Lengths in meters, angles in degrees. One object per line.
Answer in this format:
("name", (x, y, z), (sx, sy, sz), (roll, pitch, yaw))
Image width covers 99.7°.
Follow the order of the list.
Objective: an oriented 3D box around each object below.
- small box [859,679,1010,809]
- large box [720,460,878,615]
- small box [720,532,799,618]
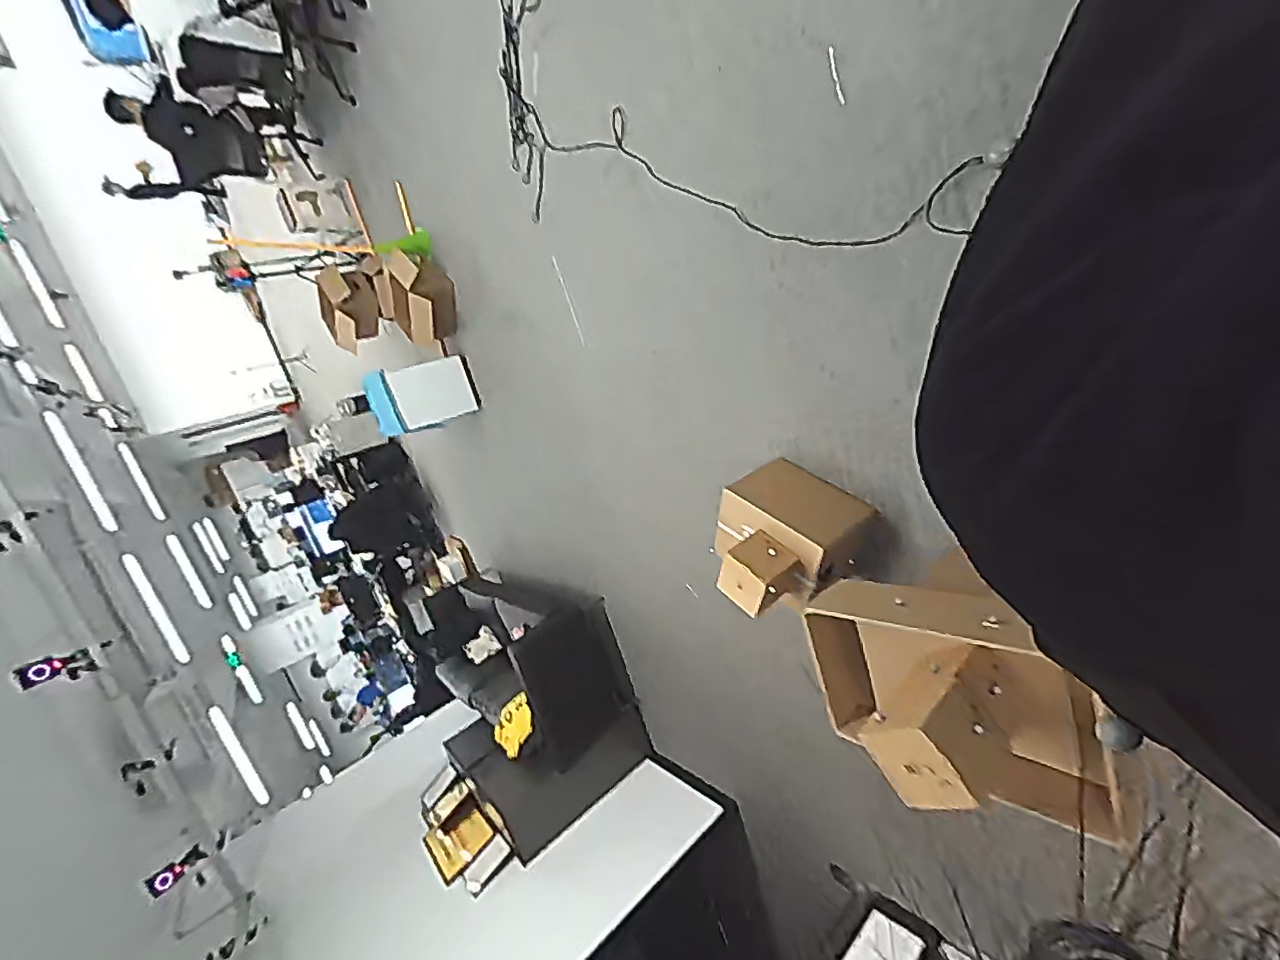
("small box", (0.595, 0.531, 1.095), (0.168, 0.176, 0.179), (55, 145, 13))
("large box", (0.539, 0.184, 1.885), (0.408, 0.320, 0.320), (36, 137, 38))
("small box", (0.383, 0.300, 1.732), (0.168, 0.176, 0.179), (39, 140, 34))
